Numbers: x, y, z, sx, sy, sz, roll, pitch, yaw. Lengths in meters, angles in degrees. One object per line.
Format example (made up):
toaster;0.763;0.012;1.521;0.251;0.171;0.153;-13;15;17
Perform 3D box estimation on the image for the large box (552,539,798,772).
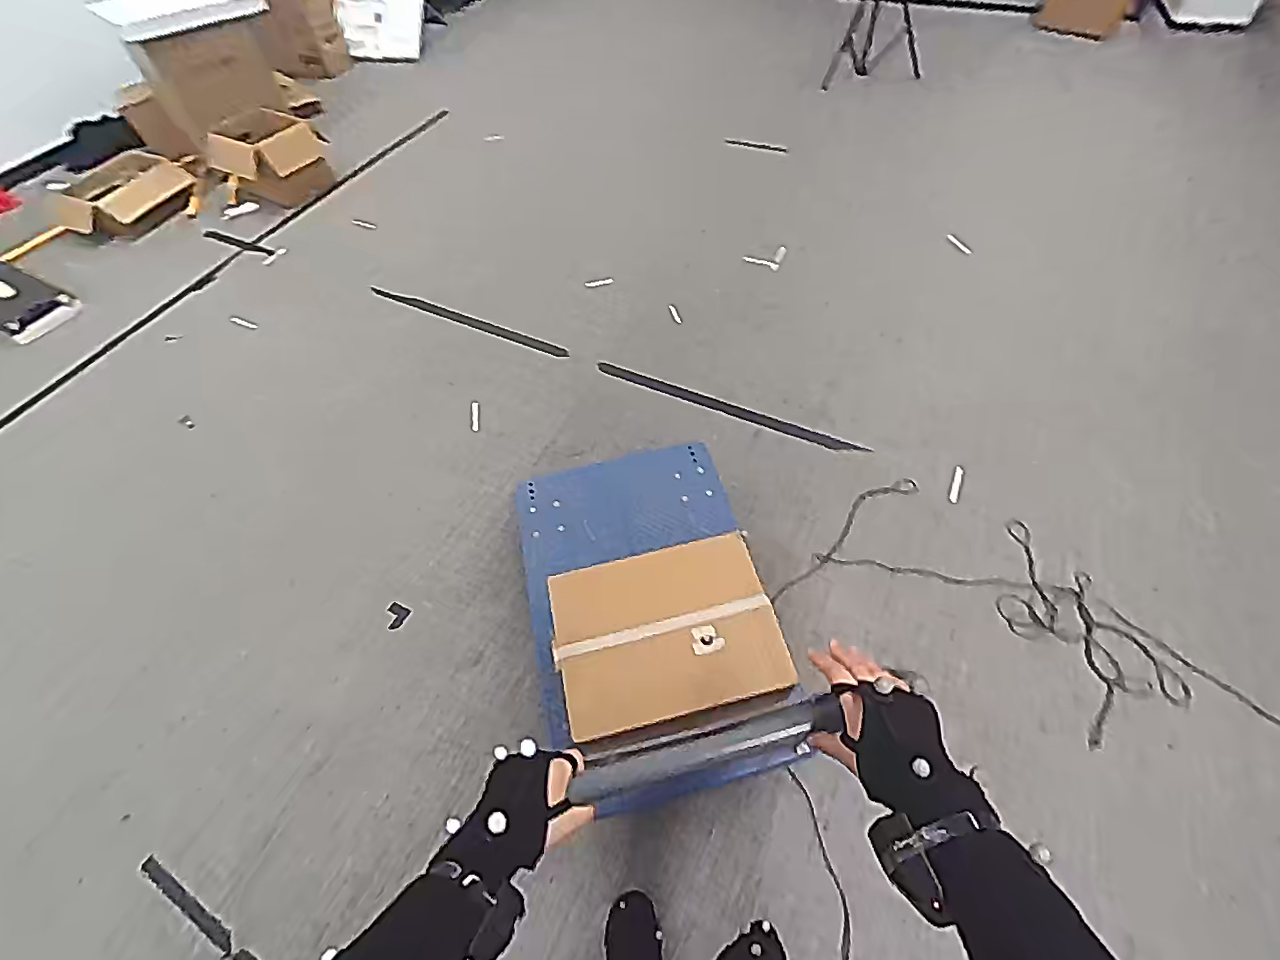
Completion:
large box;0.057;0.371;1.129;0.408;0.320;0.320;-13;56;-6
